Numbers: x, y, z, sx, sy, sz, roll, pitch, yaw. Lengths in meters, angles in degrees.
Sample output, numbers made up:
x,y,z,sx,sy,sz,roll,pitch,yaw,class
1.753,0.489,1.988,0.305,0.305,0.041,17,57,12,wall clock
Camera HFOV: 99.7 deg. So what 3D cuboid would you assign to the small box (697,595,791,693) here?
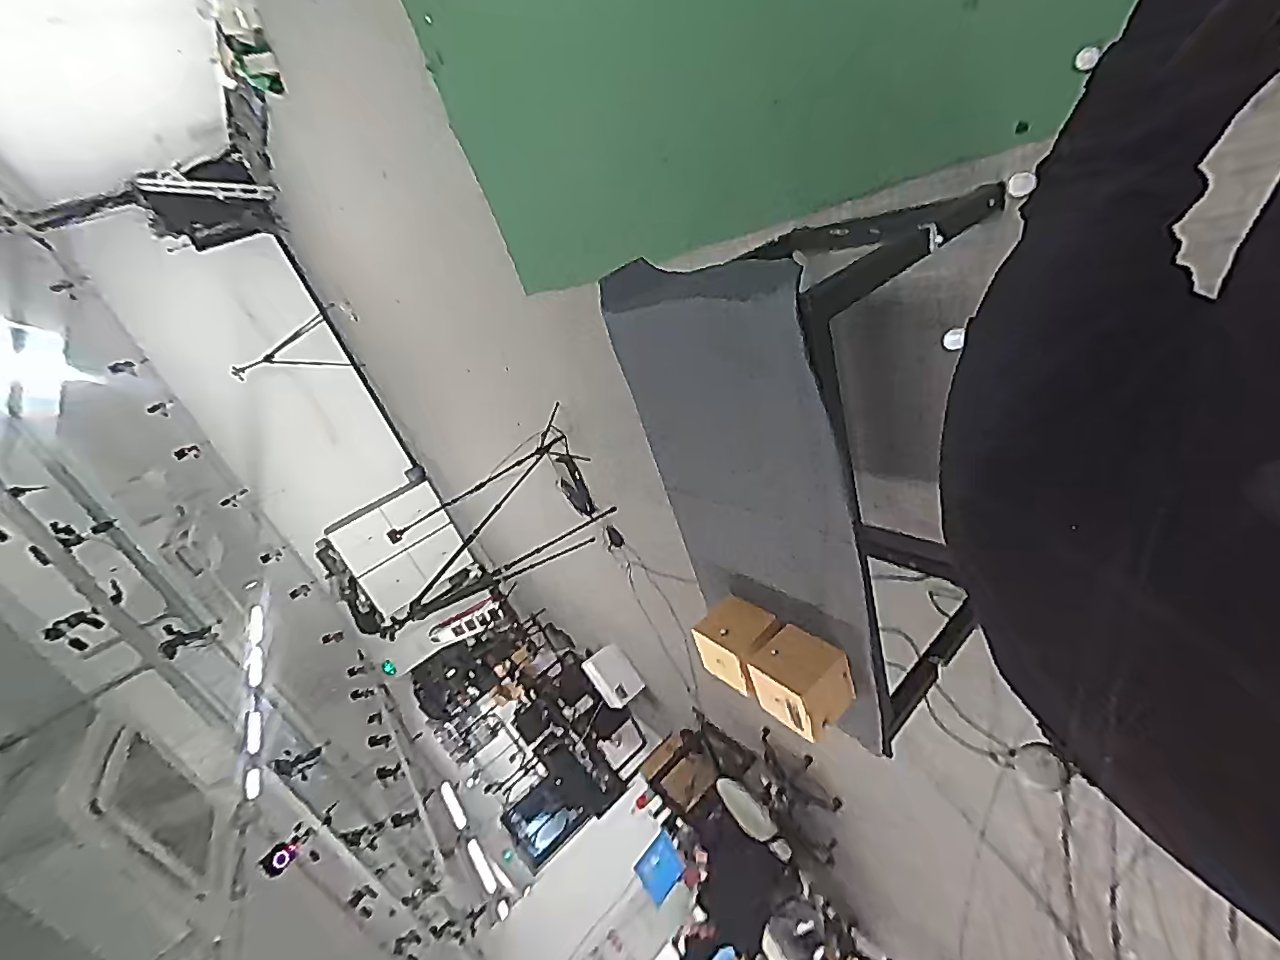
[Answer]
x,y,z,sx,sy,sz,roll,pitch,yaw,class
0.294,0.450,1.520,0.179,0.176,0.168,17,135,51,small box
